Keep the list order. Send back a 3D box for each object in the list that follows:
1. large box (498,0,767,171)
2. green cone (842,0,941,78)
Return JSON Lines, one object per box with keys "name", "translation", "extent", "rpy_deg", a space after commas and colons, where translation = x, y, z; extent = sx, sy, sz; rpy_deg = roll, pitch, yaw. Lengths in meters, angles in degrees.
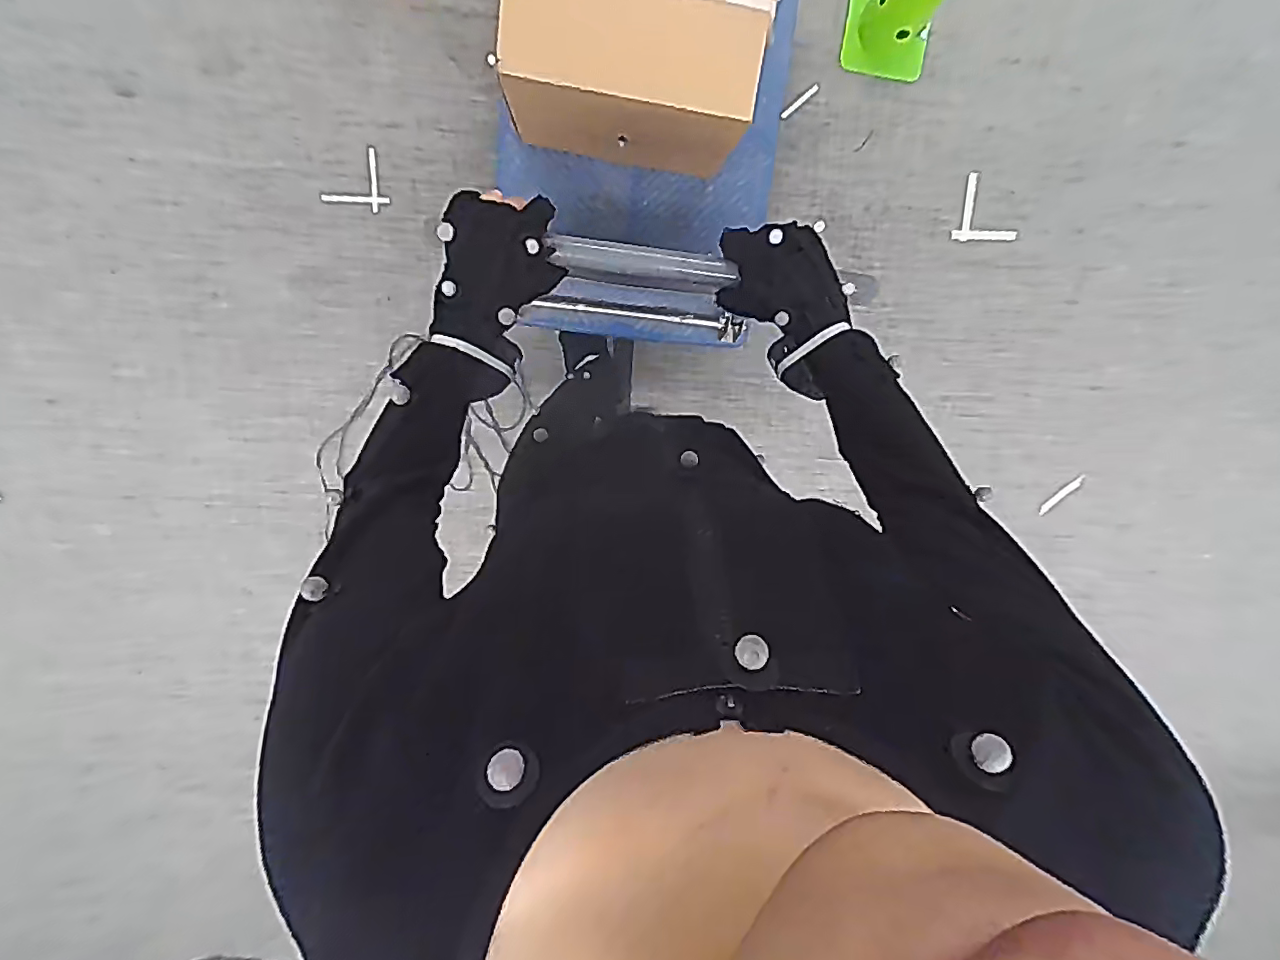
{"name": "large box", "translation": [-0.011, -0.779, 0.951], "extent": [0.408, 0.320, 0.320], "rpy_deg": [7, 103, -6]}
{"name": "green cone", "translation": [0.592, -1.017, 1.089], "extent": [0.202, 0.368, 0.200], "rpy_deg": [5, 104, -7]}
